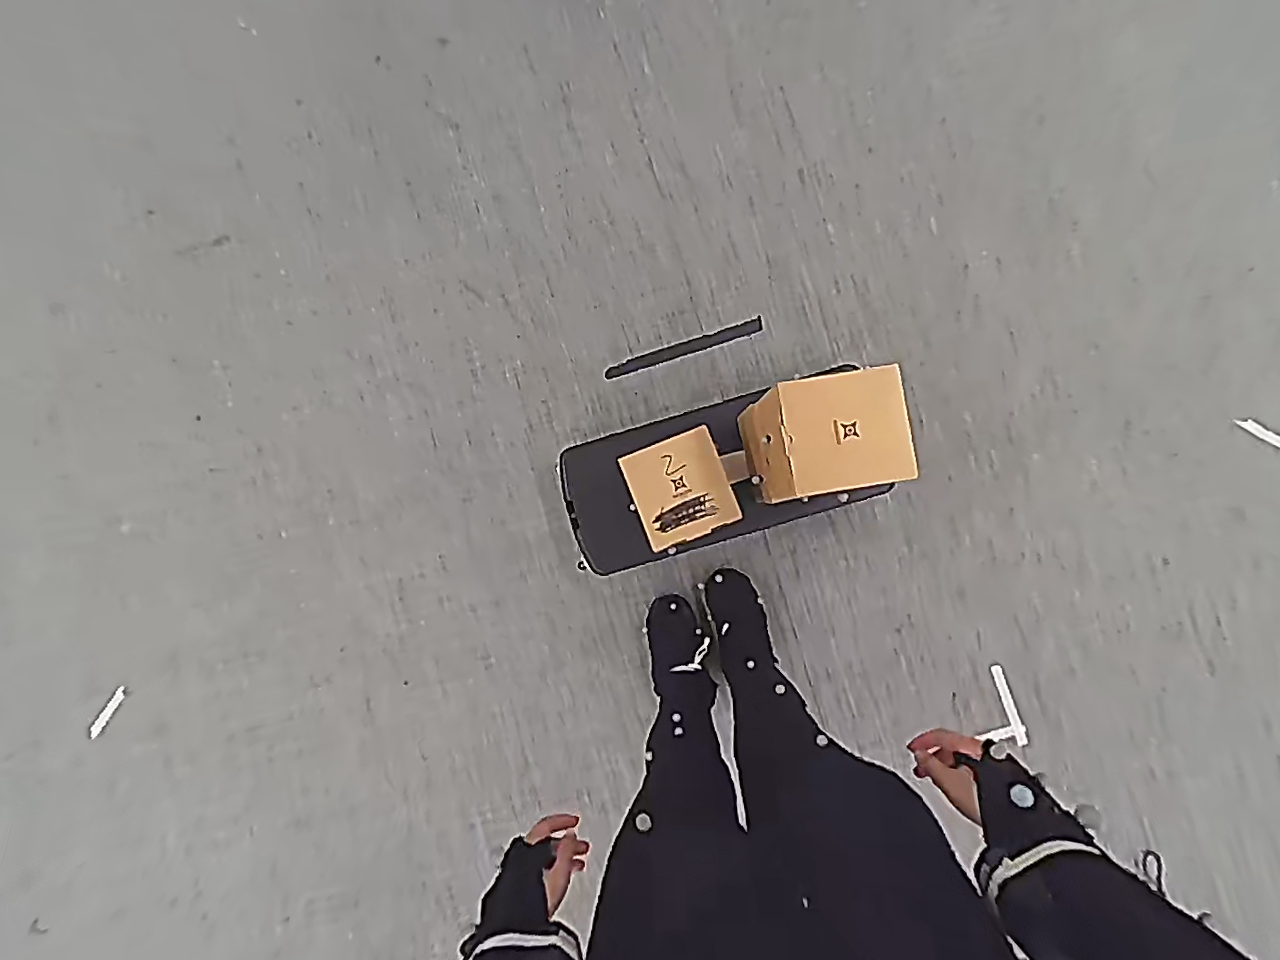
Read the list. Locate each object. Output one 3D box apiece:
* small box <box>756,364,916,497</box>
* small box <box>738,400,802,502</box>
[{"bbox_3d":[0.290,-0.069,0.834,0.179,0.176,0.168,-10,88,3],"label":"small box"},{"bbox_3d":[0.286,-0.062,0.997,0.168,0.176,0.179,-12,88,2],"label":"small box"}]
